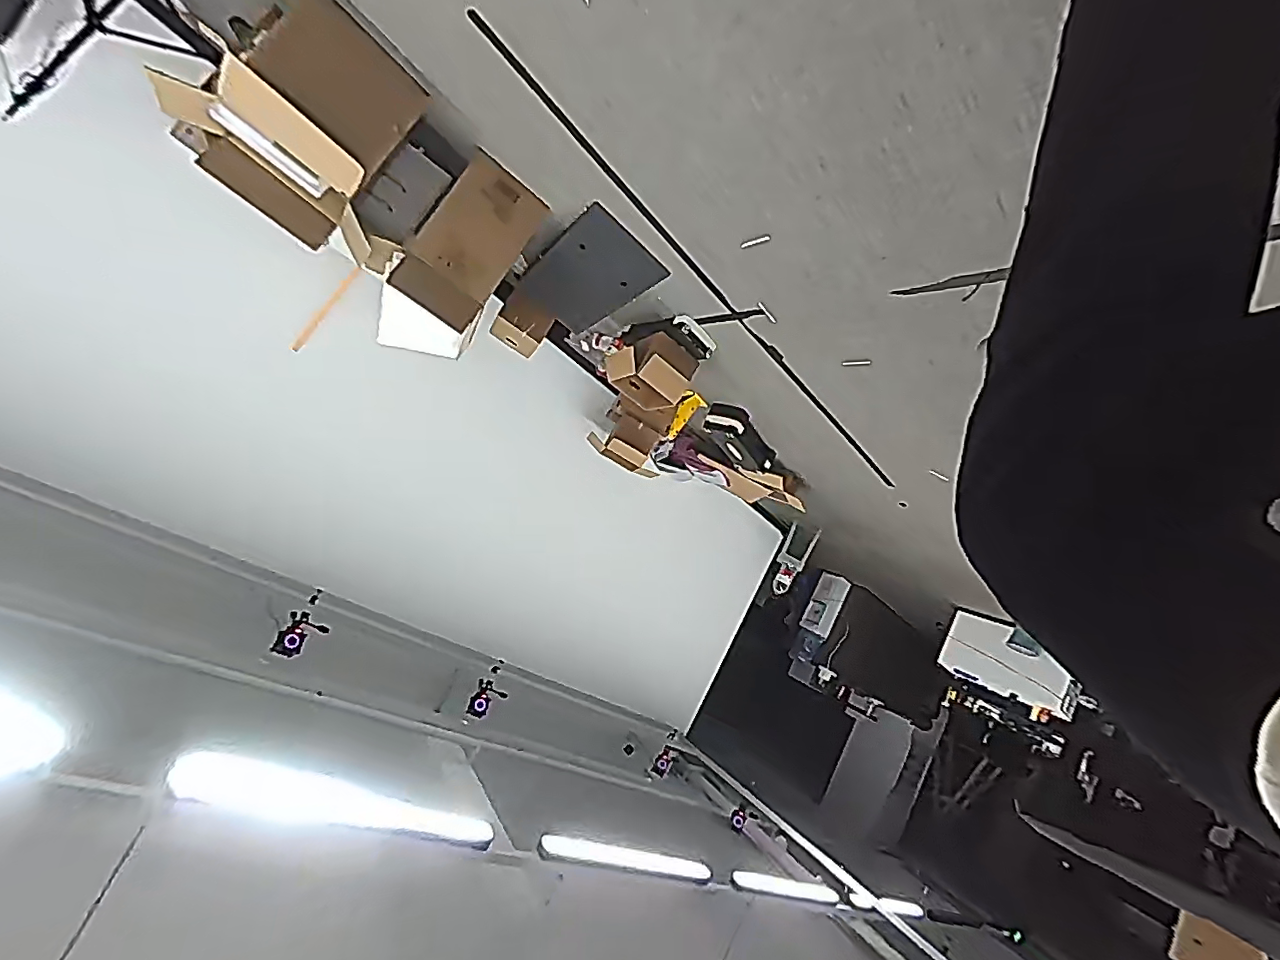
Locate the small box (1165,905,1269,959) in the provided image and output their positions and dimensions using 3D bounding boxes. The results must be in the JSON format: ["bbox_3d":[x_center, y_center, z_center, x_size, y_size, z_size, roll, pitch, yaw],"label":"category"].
[{"bbox_3d":[1.710,1.403,1.603,0.168,0.176,0.179,36,168,-35],"label":"small box"}]
